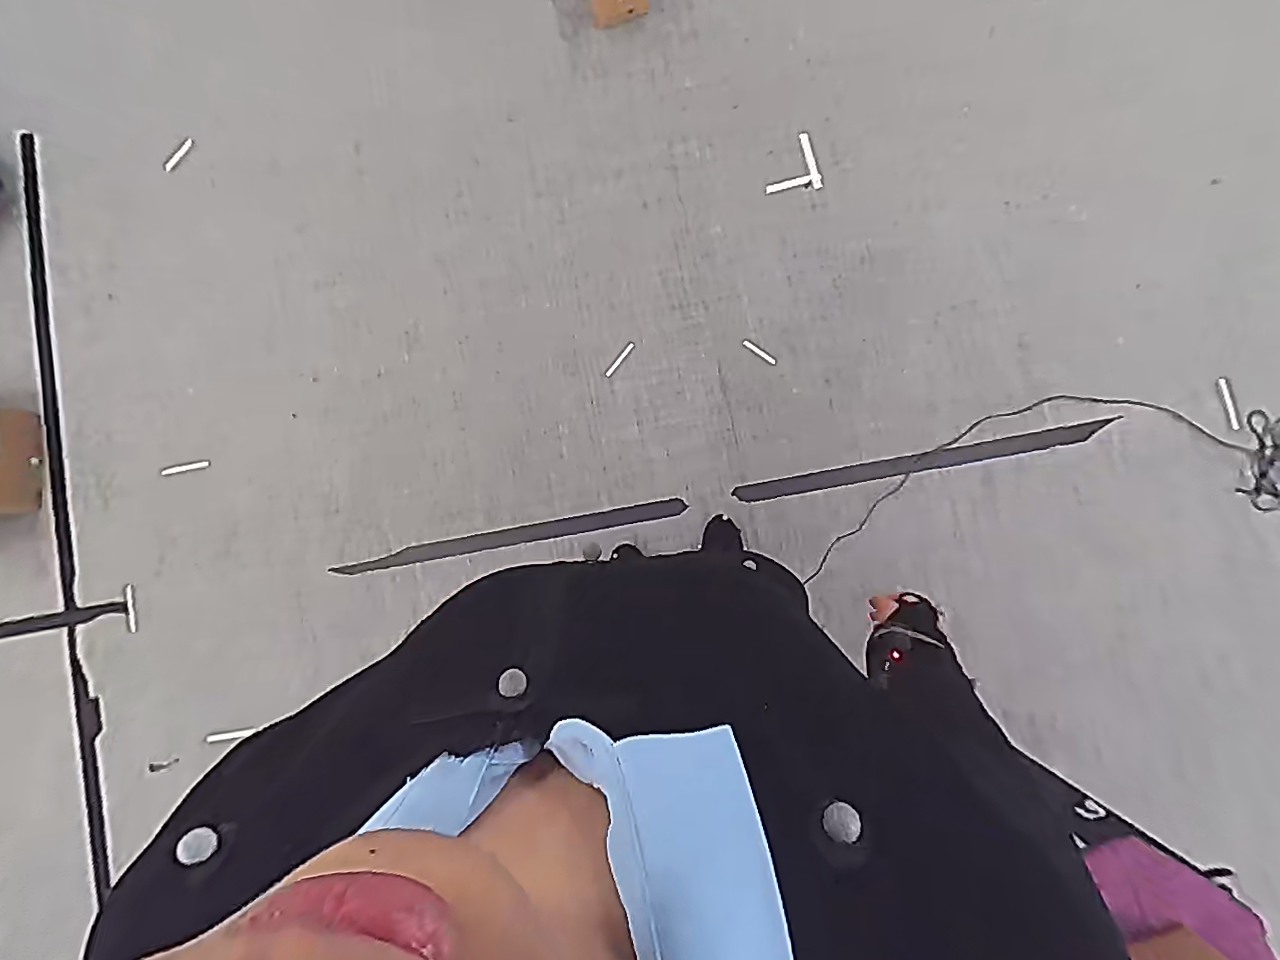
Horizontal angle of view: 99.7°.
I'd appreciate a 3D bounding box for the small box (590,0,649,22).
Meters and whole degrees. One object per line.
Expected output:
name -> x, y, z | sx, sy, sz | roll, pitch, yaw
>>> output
small box -> -0.075, -1.481, 1.566 | 0.168, 0.176, 0.179 | -16, 84, 3
